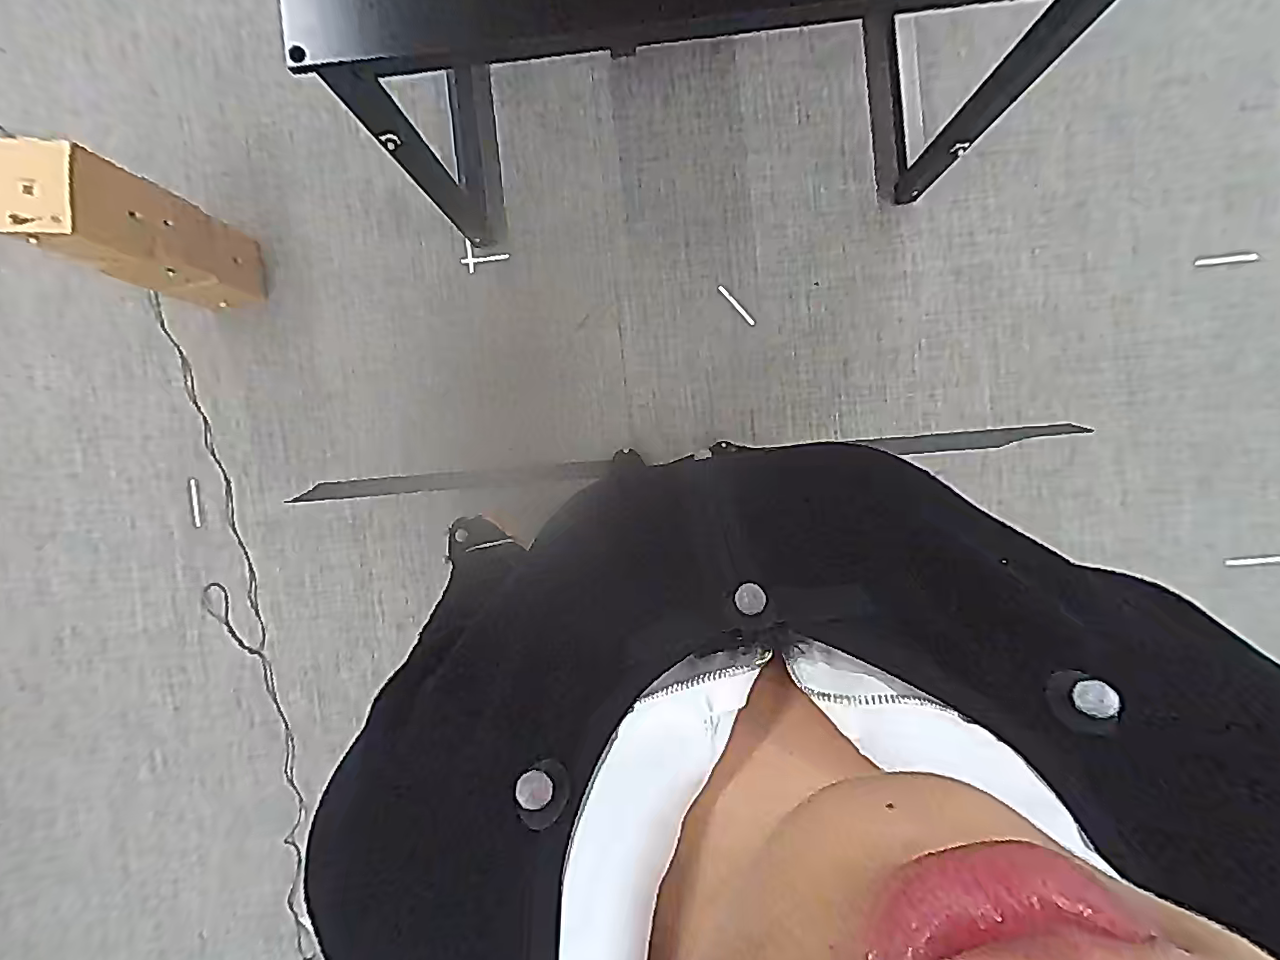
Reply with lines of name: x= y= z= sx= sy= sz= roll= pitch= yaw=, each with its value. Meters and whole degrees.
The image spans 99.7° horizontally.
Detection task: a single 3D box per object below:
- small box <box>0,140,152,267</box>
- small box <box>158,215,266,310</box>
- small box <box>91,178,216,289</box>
small box: x=-1.148 y=-0.557 z=1.103 sx=0.168 sy=0.176 sz=0.179 roll=2 pitch=92 yaw=2
small box: x=-1.136 y=-0.567 z=1.429 sx=0.168 sy=0.176 sz=0.179 roll=-9 pitch=93 yaw=3
small box: x=-1.144 y=-0.565 z=1.267 sx=0.168 sy=0.176 sz=0.179 roll=-12 pitch=91 yaw=2
